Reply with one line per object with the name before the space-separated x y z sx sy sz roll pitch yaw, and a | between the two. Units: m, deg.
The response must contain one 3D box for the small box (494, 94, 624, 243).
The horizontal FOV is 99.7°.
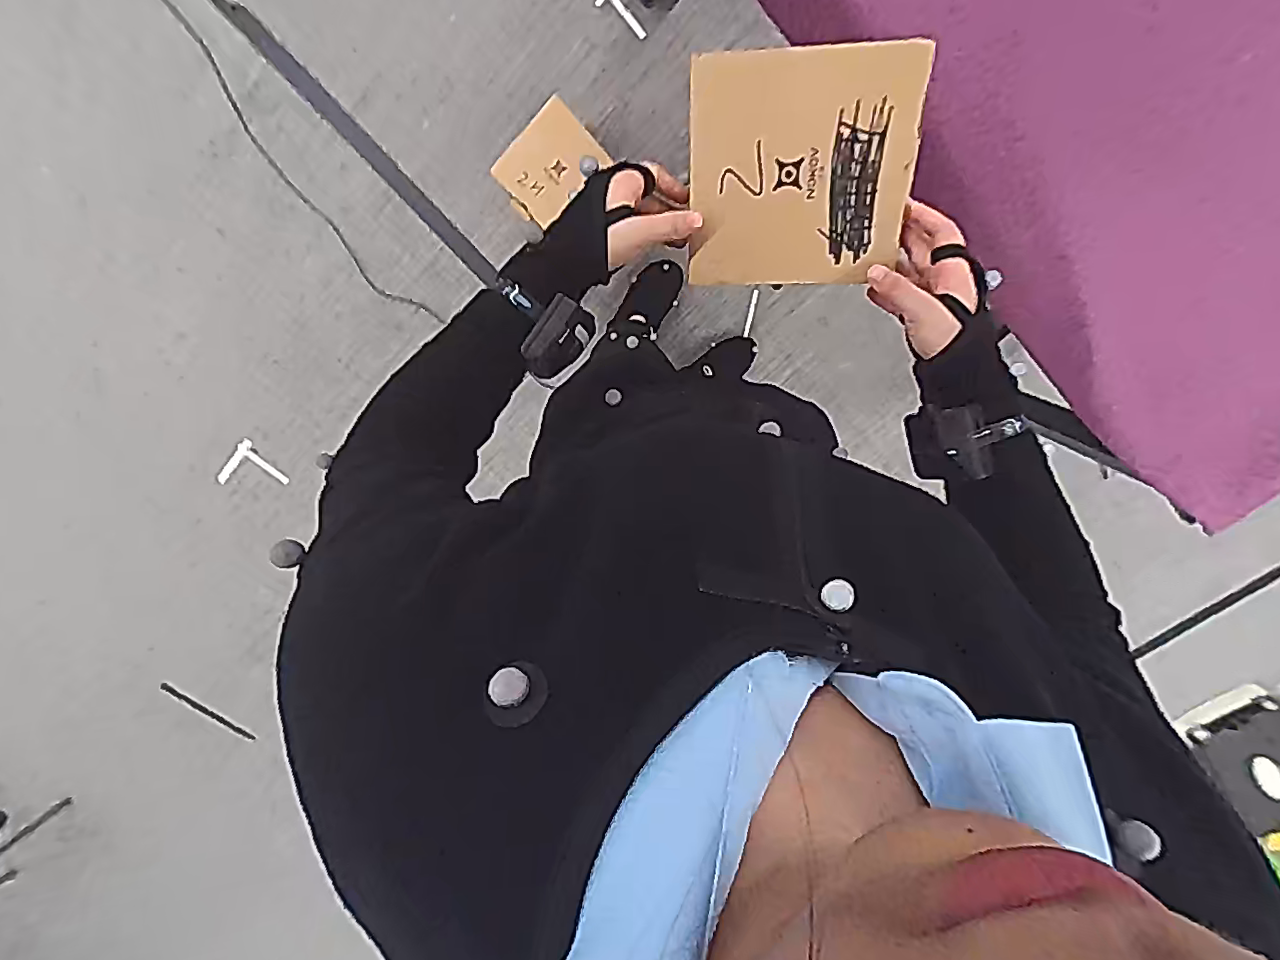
small box | -0.146 -0.583 1.037 0.179 0.176 0.168 -40 107 16
